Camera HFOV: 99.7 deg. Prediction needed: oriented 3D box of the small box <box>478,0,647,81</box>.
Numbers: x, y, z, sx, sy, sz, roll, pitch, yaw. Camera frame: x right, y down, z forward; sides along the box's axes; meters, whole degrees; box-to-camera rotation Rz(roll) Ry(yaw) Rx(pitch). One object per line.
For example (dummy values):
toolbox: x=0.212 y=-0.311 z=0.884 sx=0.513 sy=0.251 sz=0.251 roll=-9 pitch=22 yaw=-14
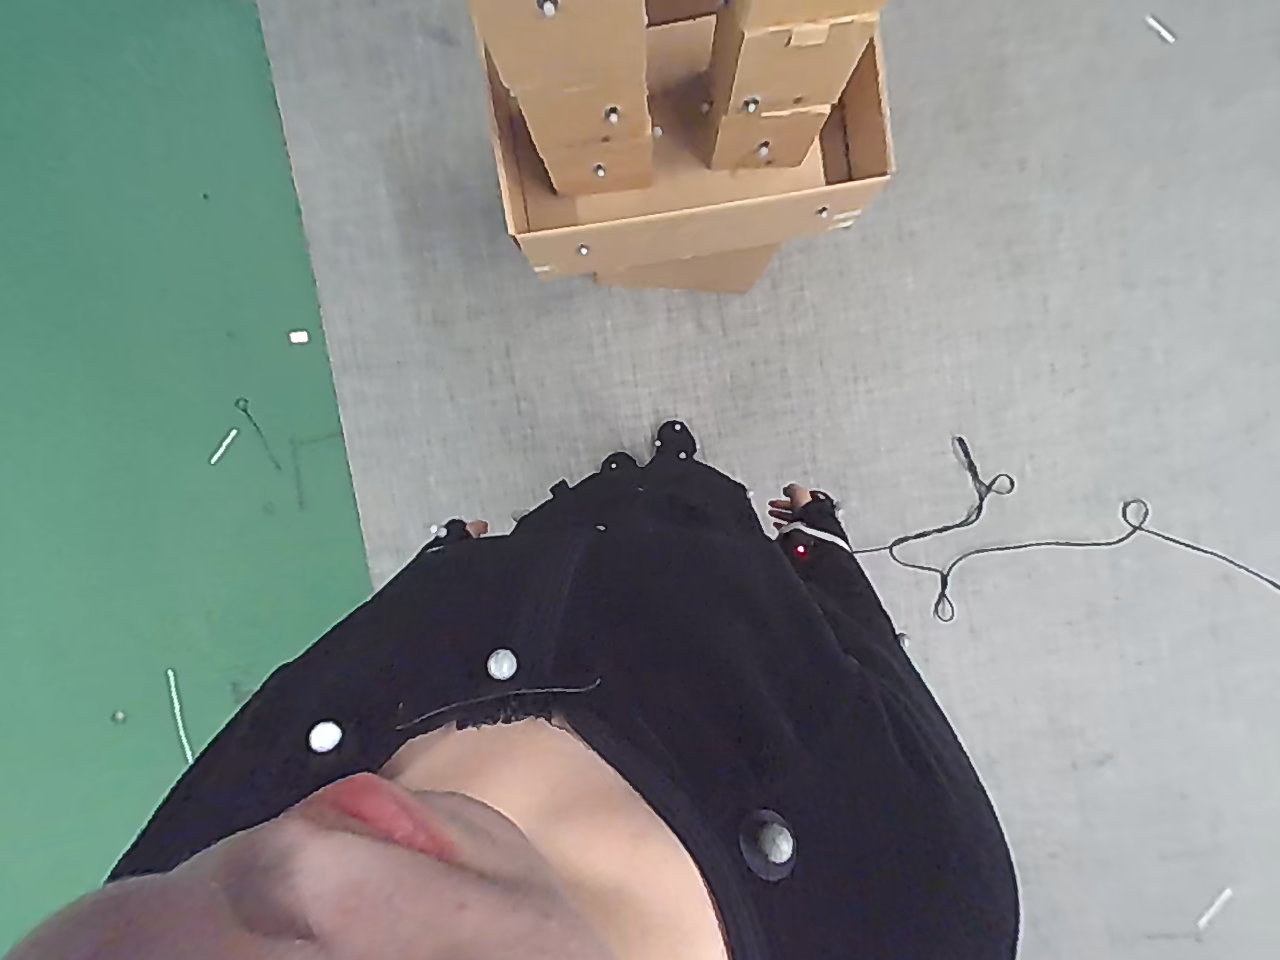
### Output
small box: x=-0.085 y=-0.557 z=0.567 sx=0.179 sy=0.176 sz=0.168 roll=-5 pitch=95 yaw=0

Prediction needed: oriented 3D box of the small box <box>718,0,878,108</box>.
small box: x=0.199 y=-0.631 z=0.721 sx=0.168 sy=0.176 sz=0.179 roll=-5 pitch=94 yaw=2

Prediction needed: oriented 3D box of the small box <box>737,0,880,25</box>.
small box: x=0.192 y=-0.618 z=0.559 sx=0.179 sy=0.176 sz=0.168 roll=-6 pitch=95 yaw=1

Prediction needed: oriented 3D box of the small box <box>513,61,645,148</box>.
small box: x=-0.083 y=-0.578 z=0.730 sx=0.168 sy=0.176 sz=0.179 roll=-8 pitch=94 yaw=1

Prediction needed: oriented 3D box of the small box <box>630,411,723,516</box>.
small box: x=0.086 y=-0.041 z=1.402 sx=0.168 sy=0.176 sz=0.179 roll=37 pitch=57 yaw=24
